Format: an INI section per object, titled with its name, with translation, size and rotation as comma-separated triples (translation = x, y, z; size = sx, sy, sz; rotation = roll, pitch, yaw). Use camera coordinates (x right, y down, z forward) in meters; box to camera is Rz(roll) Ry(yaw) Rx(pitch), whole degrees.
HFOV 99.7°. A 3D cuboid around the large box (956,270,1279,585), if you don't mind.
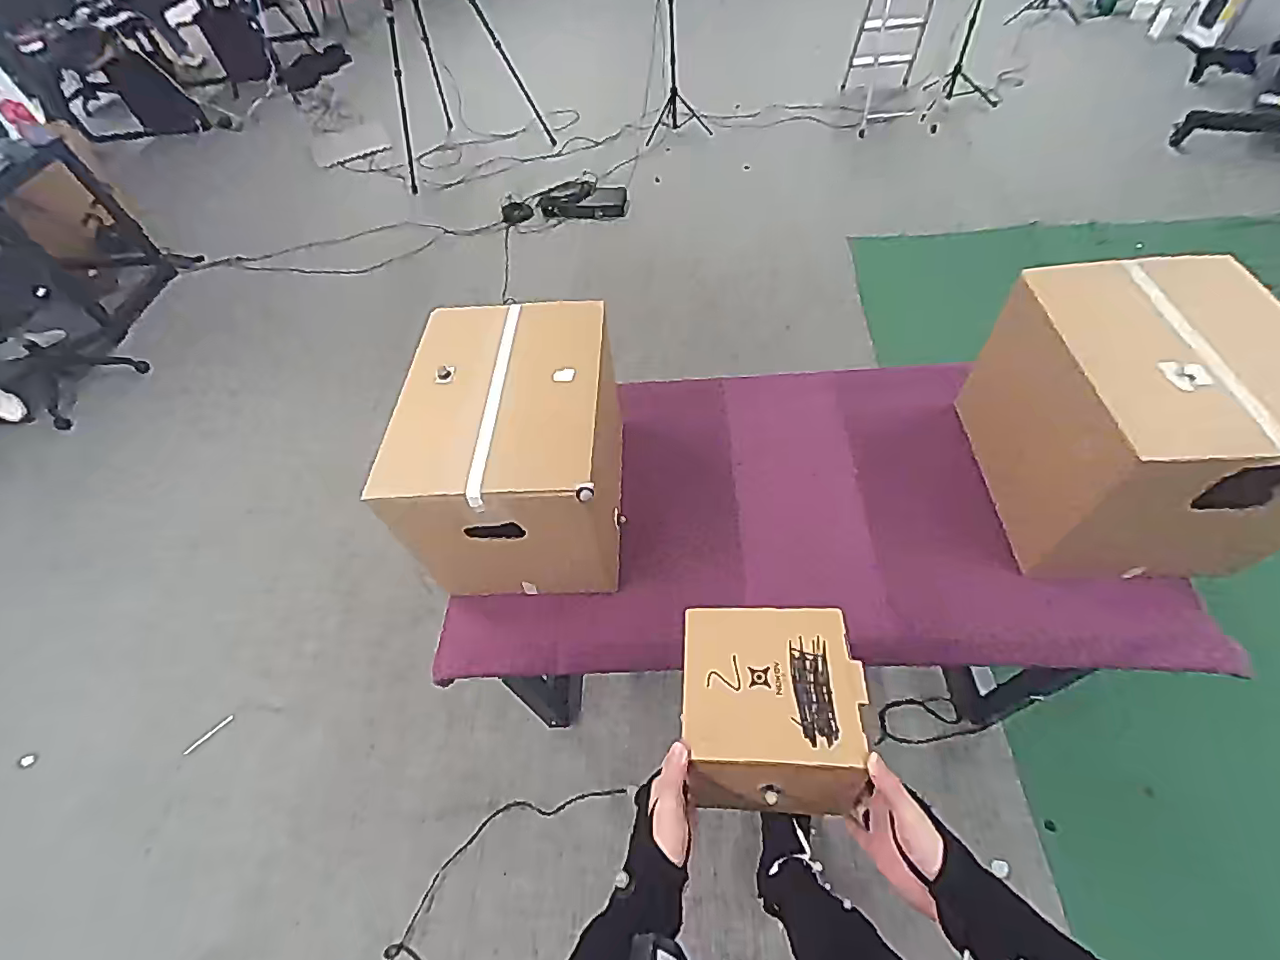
[large box]
translation = 0.775, -0.079, 0.863
size = 0.320, 0.320, 0.408
rotation = -2, 54, 7
